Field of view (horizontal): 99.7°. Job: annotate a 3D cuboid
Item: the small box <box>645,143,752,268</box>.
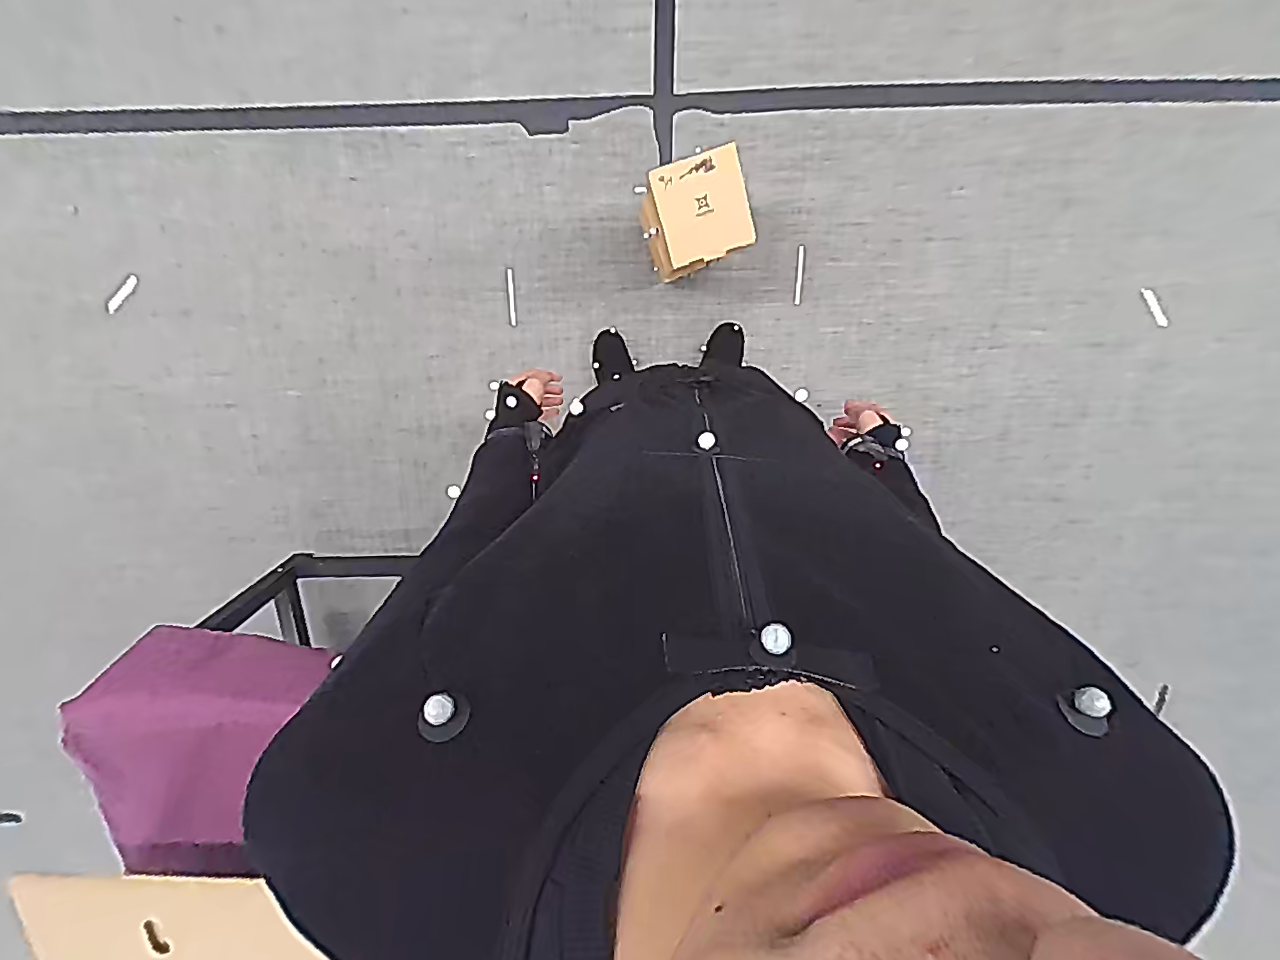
[{"bbox_3d":[0.112,-0.533,1.075,0.168,0.176,0.179,-16,109,5],"label":"small box"}]
